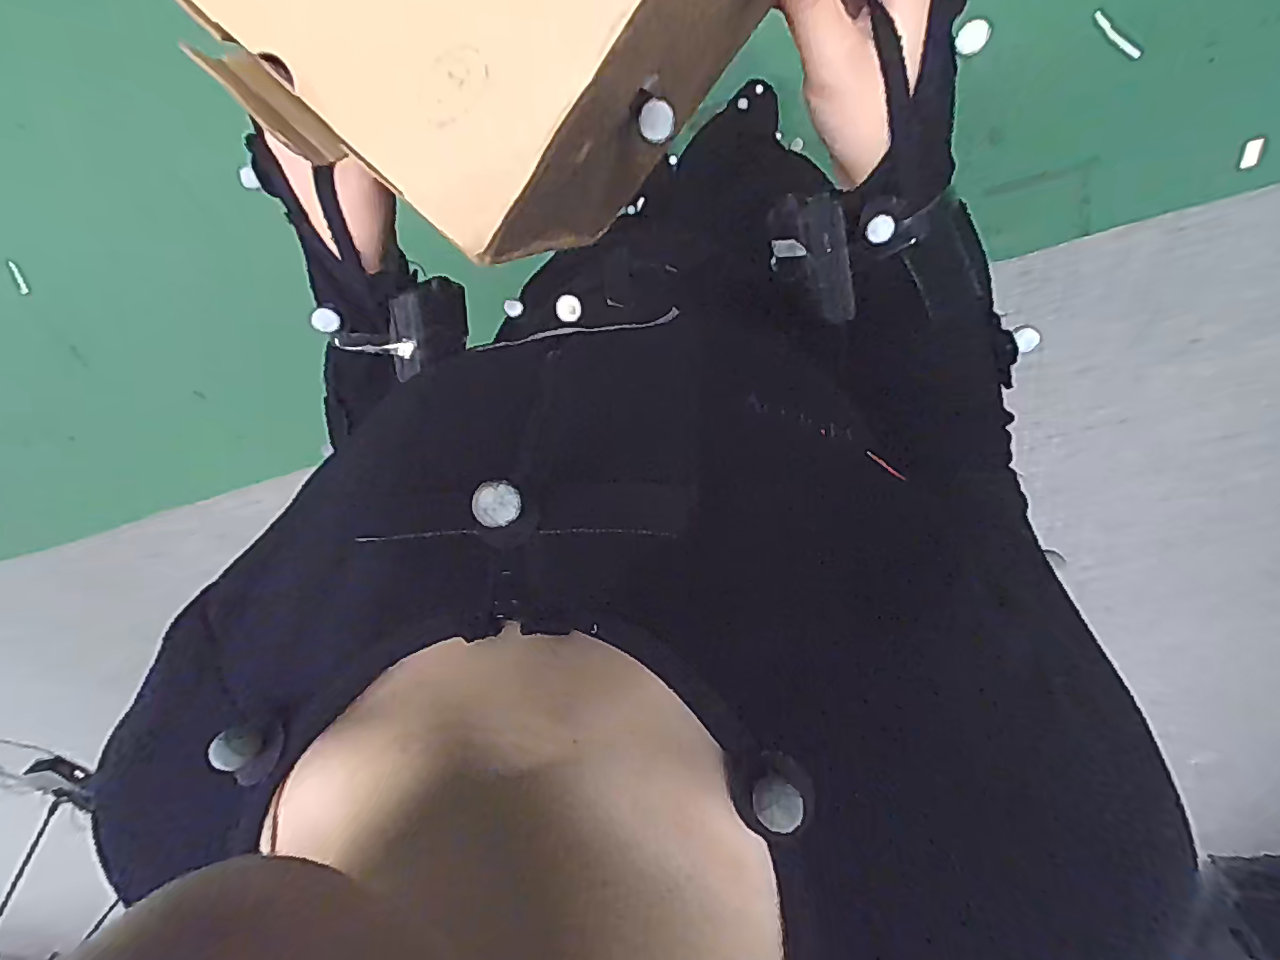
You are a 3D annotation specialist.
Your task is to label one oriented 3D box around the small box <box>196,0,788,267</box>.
[{"bbox_3d":[-0.042,-0.218,0.221,0.168,0.176,0.179,40,117,-10],"label":"small box"}]
